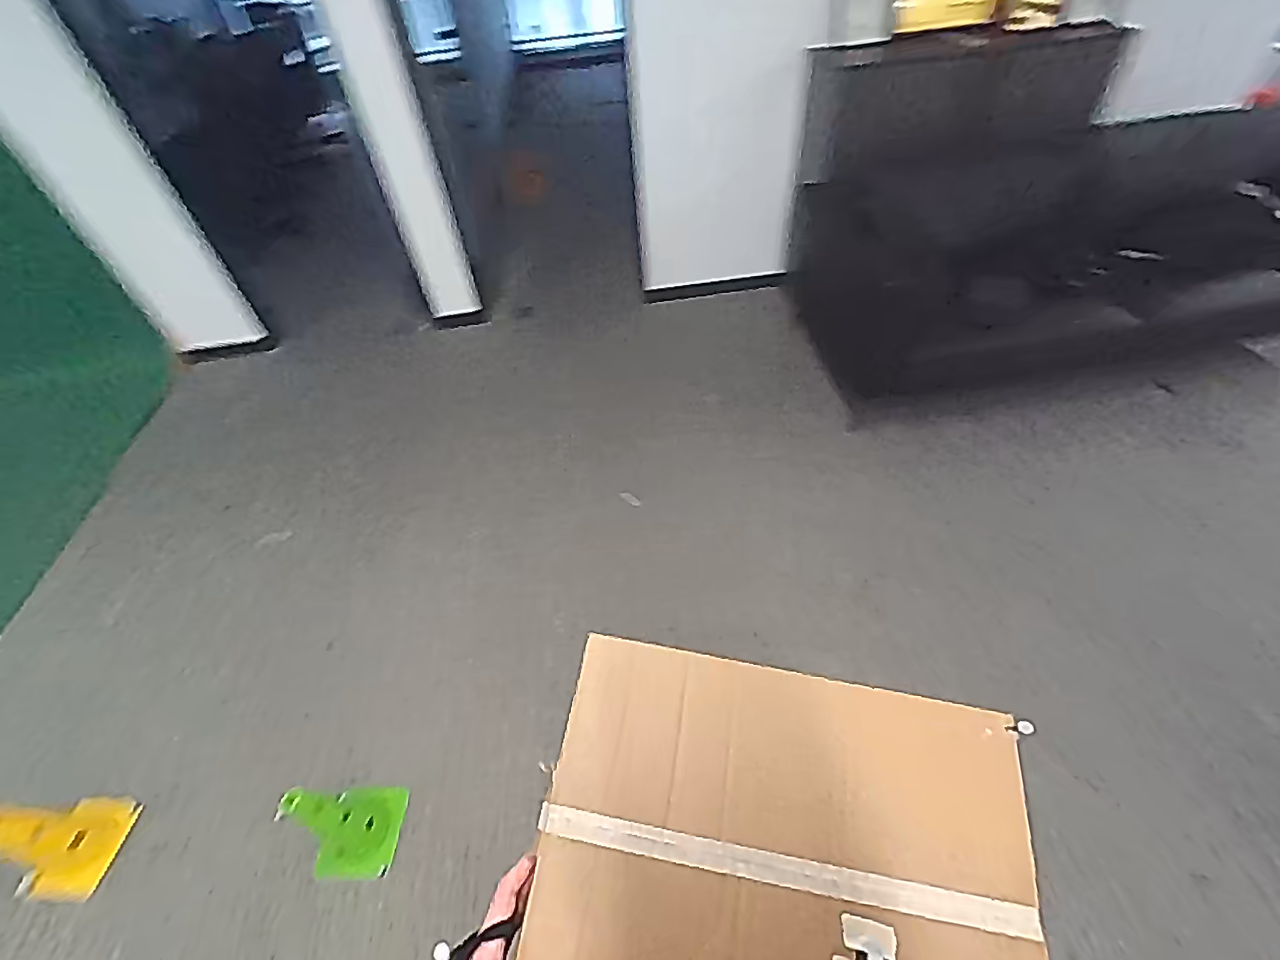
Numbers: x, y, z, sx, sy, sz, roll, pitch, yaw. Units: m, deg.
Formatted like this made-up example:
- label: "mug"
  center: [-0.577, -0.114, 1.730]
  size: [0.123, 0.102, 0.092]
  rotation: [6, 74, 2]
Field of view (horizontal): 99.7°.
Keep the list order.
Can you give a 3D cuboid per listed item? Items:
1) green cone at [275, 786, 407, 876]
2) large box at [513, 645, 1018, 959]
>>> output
- label: "green cone"
  center: [-0.747, 0.802, 1.297]
  size: [0.202, 0.368, 0.200]
  rotation: [-4, 47, 4]
- label: "large box"
  center: [0.104, 0.392, 0.586]
  size: [0.408, 0.320, 0.320]
  rotation: [9, 62, 3]
